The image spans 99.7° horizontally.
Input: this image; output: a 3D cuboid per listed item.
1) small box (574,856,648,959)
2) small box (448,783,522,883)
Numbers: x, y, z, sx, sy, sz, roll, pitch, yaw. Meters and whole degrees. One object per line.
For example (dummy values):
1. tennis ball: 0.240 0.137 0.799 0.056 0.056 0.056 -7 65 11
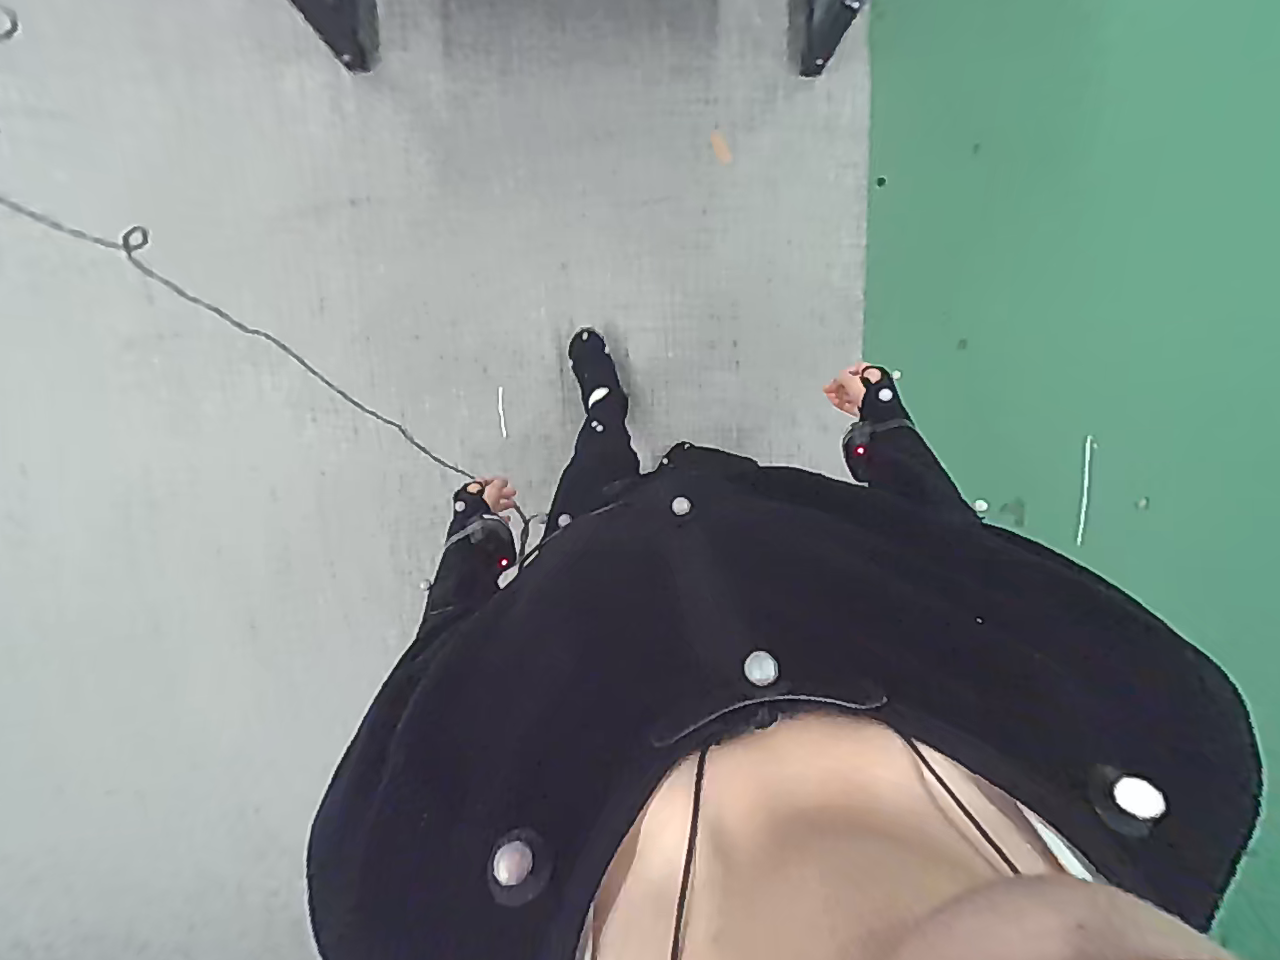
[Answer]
1. small box: -0.084 1.253 1.591 0.179 0.176 0.168 -16 99 2
2. small box: -0.434 0.996 1.537 0.168 0.176 0.179 5 99 -2
